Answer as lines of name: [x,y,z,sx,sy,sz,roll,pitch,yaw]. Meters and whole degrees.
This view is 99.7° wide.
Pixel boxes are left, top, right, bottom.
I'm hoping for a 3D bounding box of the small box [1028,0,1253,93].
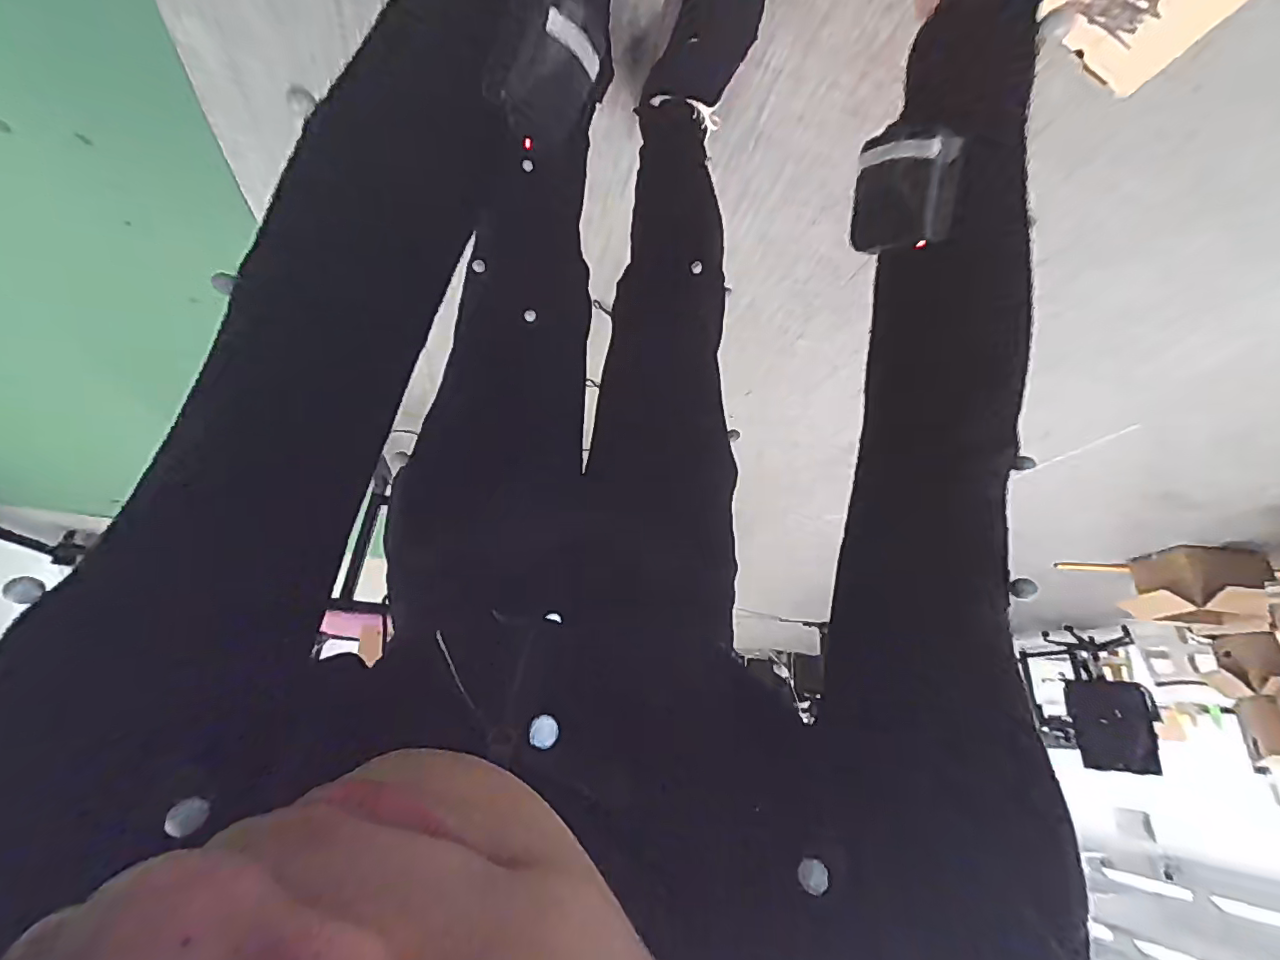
small box: [0.467,-0.511,0.479,0.168,0.176,0.179,15,153,-22]
